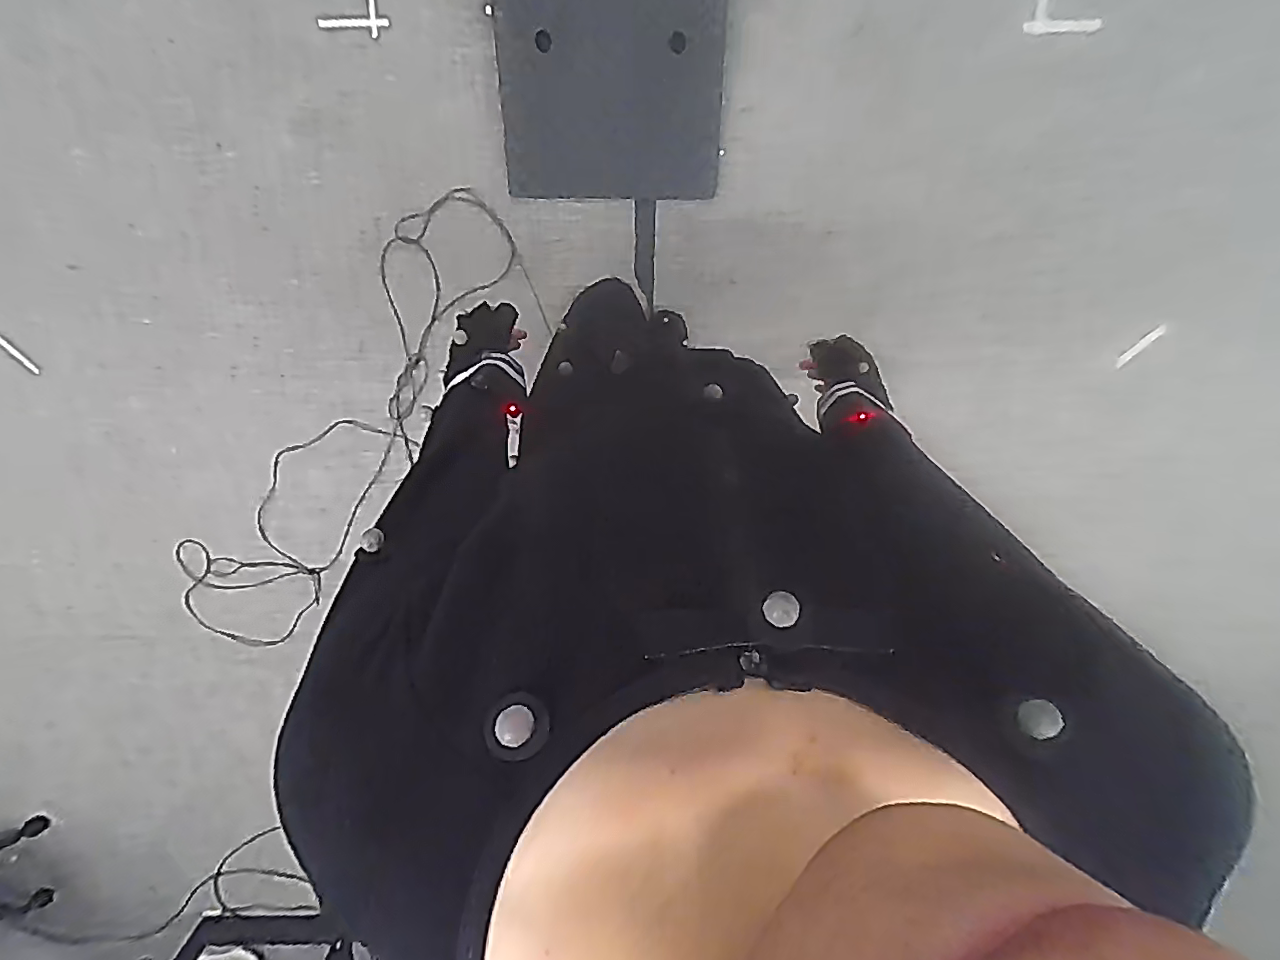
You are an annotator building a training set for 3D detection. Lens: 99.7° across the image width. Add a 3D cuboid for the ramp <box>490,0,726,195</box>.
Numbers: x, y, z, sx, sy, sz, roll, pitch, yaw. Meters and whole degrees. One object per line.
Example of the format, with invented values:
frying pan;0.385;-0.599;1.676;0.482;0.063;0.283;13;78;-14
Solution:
ramp;-0.064;-1.118;1.051;0.509;0.206;0.991;-2;108;-1
